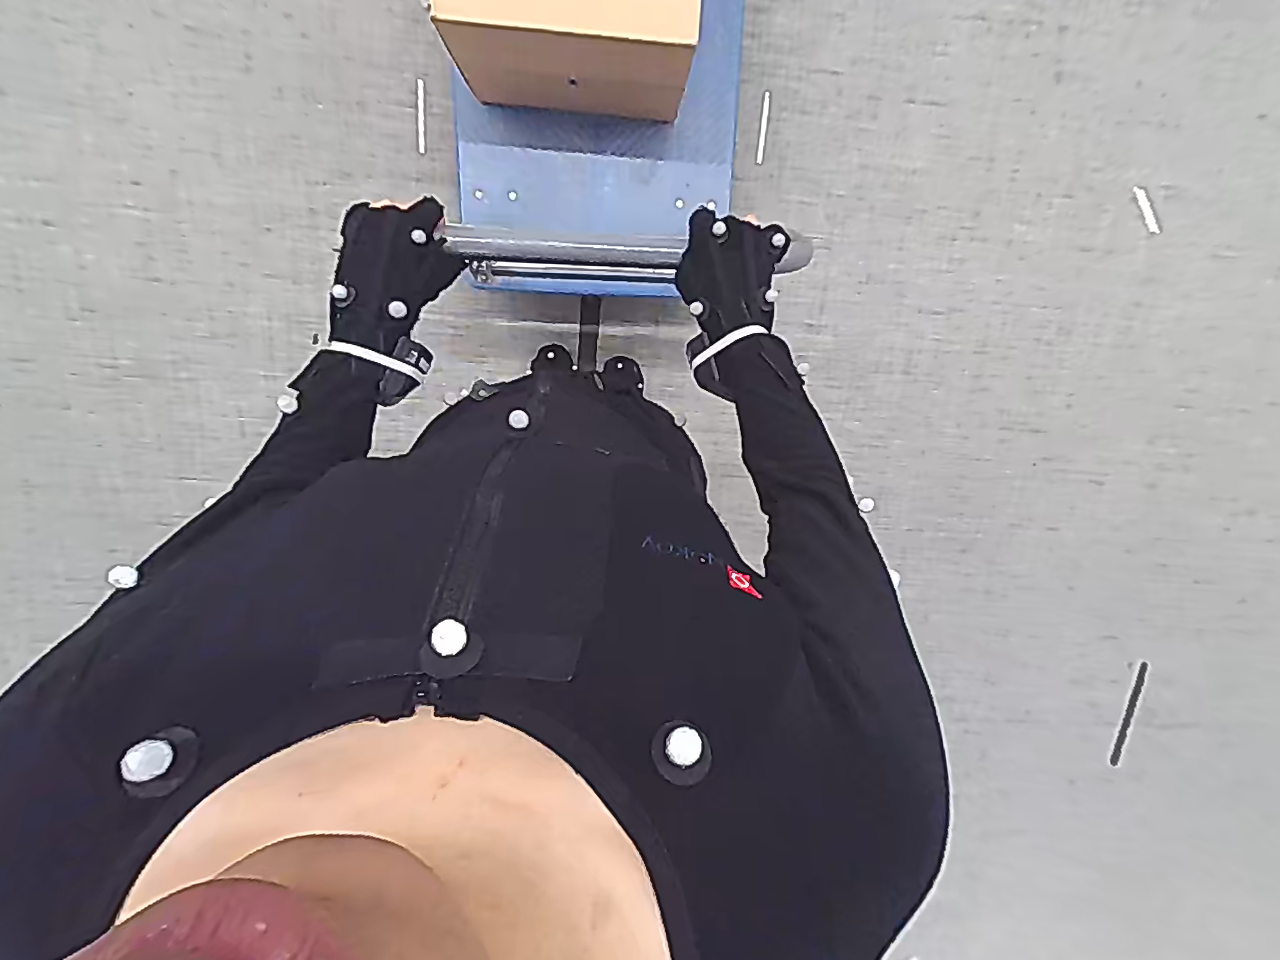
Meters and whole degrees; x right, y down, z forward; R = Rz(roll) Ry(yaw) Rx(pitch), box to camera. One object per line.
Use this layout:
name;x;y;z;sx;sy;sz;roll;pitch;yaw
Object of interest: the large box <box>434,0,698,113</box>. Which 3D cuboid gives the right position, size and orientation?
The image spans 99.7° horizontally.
large box;-0.109;-0.869;0.930;0.408;0.320;0.320;3;105;-3
